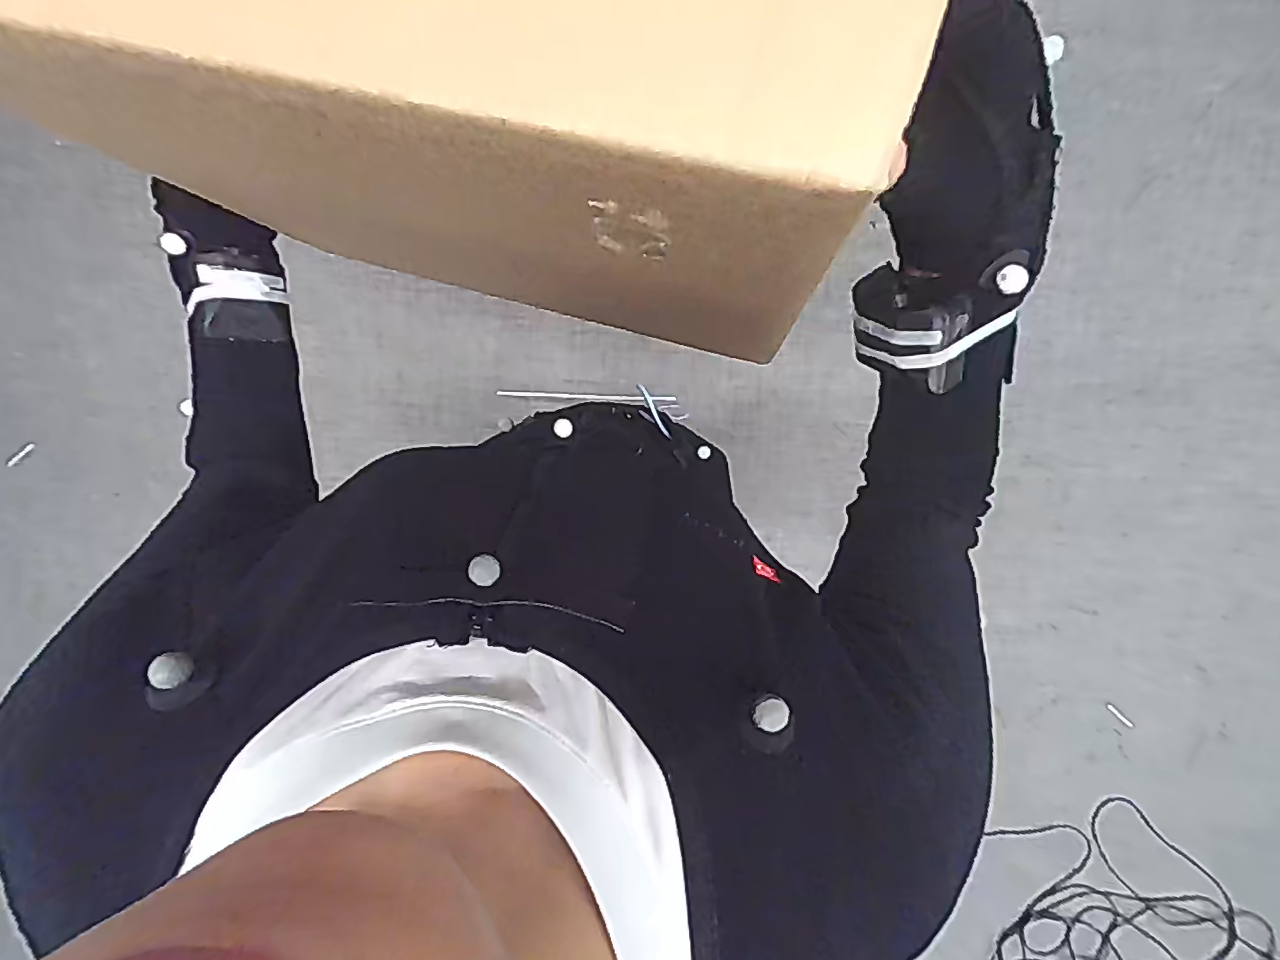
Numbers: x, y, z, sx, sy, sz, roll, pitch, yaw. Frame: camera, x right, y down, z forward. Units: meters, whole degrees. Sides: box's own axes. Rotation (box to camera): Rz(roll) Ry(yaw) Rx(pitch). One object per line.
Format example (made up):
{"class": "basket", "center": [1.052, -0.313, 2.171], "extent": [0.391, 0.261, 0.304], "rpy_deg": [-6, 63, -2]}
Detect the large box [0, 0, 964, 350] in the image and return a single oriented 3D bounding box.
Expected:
{"class": "large box", "center": [-0.062, -0.288, 0.288], "extent": [0.408, 0.320, 0.320], "rpy_deg": [17, 97, 6]}
